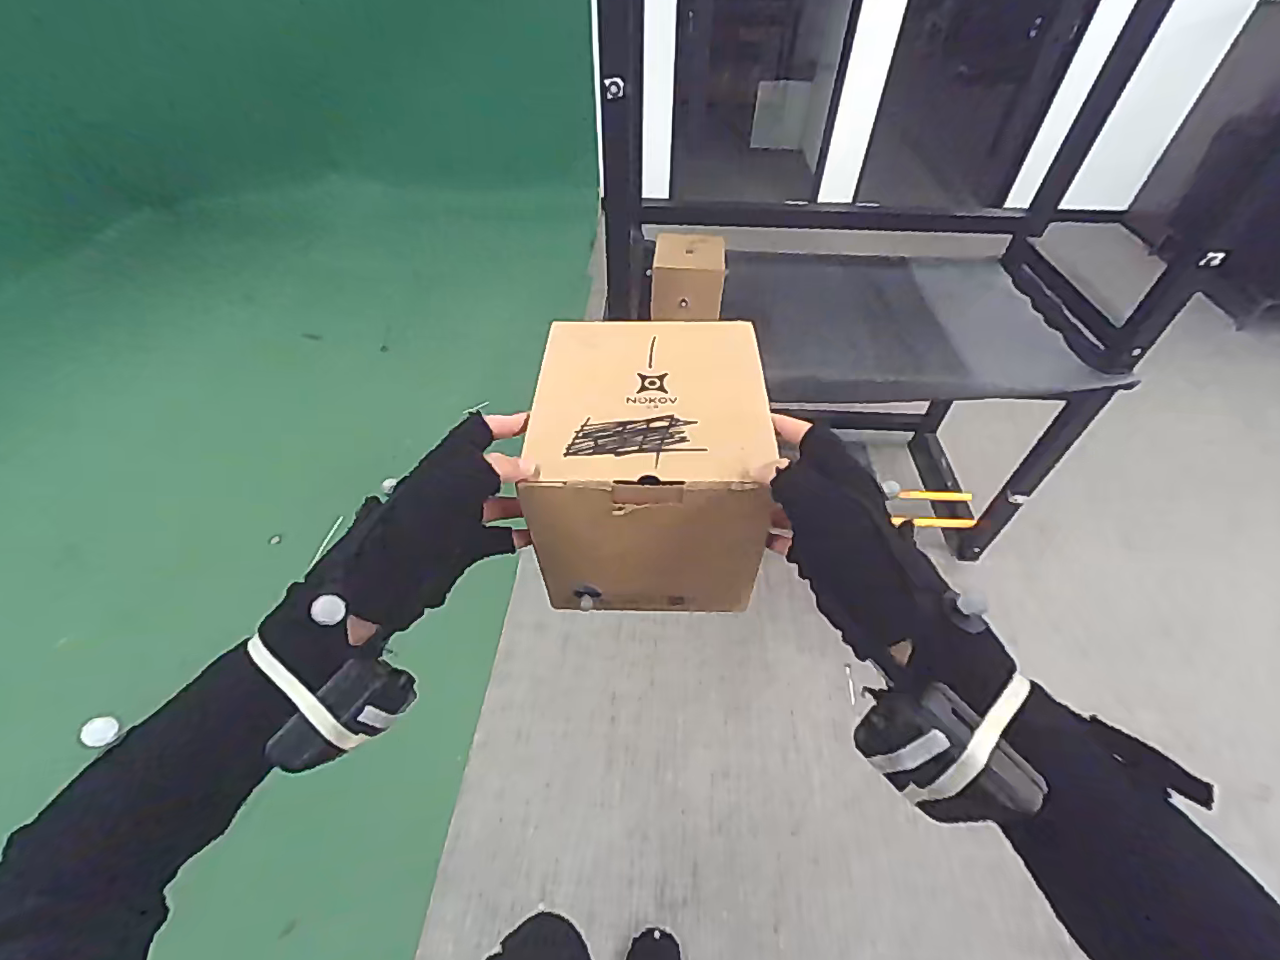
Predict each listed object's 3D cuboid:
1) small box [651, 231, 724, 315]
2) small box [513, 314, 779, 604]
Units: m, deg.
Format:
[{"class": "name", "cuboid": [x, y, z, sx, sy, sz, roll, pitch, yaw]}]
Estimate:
[{"class": "small box", "cuboid": [0.116, -0.489, 1.329, 0.168, 0.176, 0.179, 5, 48, 3]}, {"class": "small box", "cuboid": [0.009, -0.014, 0.438, 0.168, 0.176, 0.179, 1, 49, 2]}]
